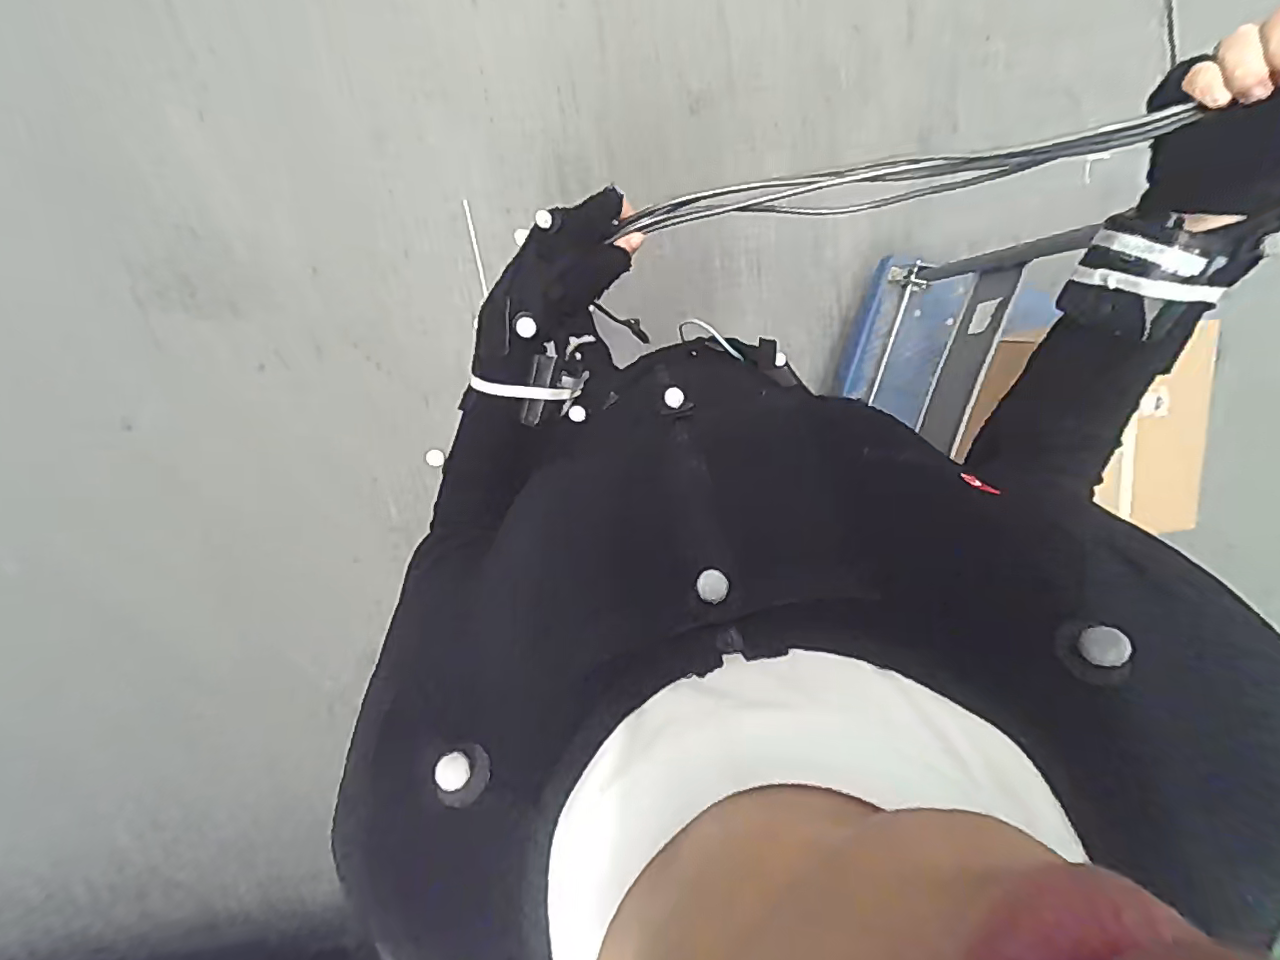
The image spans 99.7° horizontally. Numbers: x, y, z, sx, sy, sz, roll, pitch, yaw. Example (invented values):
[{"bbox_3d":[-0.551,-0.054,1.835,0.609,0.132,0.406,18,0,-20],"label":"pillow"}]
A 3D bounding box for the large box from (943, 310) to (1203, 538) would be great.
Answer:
[{"bbox_3d":[0.888,-0.131,1.165,0.320,0.320,0.408,-8,104,0],"label":"large box"}]
